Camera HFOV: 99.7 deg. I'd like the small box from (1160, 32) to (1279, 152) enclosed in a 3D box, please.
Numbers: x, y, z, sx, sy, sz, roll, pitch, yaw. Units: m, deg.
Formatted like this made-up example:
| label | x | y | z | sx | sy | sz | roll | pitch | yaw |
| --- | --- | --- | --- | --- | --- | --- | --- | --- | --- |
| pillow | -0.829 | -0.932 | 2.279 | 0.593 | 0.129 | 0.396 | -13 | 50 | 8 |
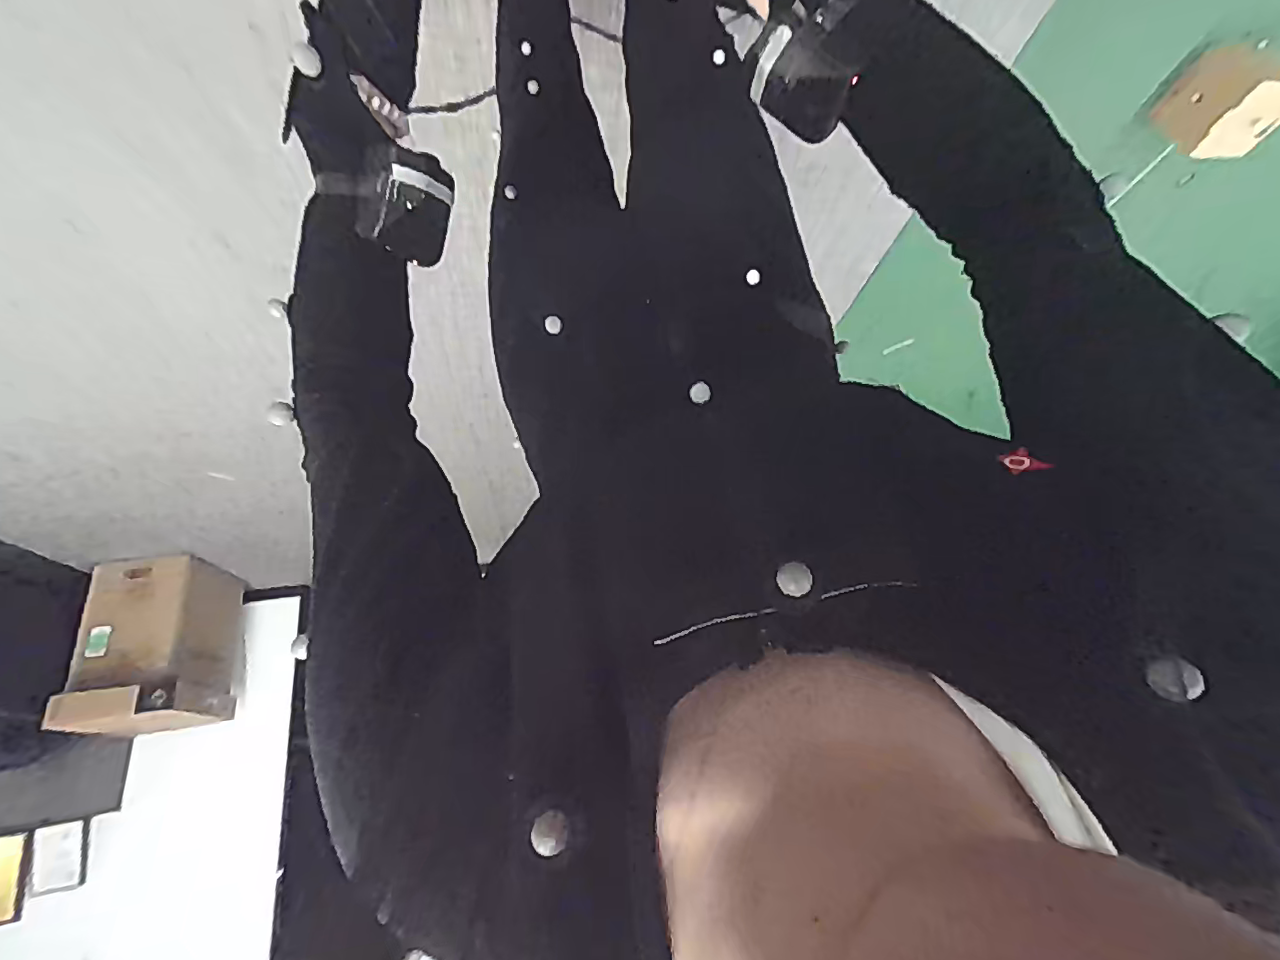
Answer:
| label | x | y | z | sx | sy | sz | roll | pitch | yaw |
| --- | --- | --- | --- | --- | --- | --- | --- | --- | --- |
| small box | 1.371 | -0.888 | 1.239 | 0.179 | 0.176 | 0.168 | -5 | 156 | -10 |
